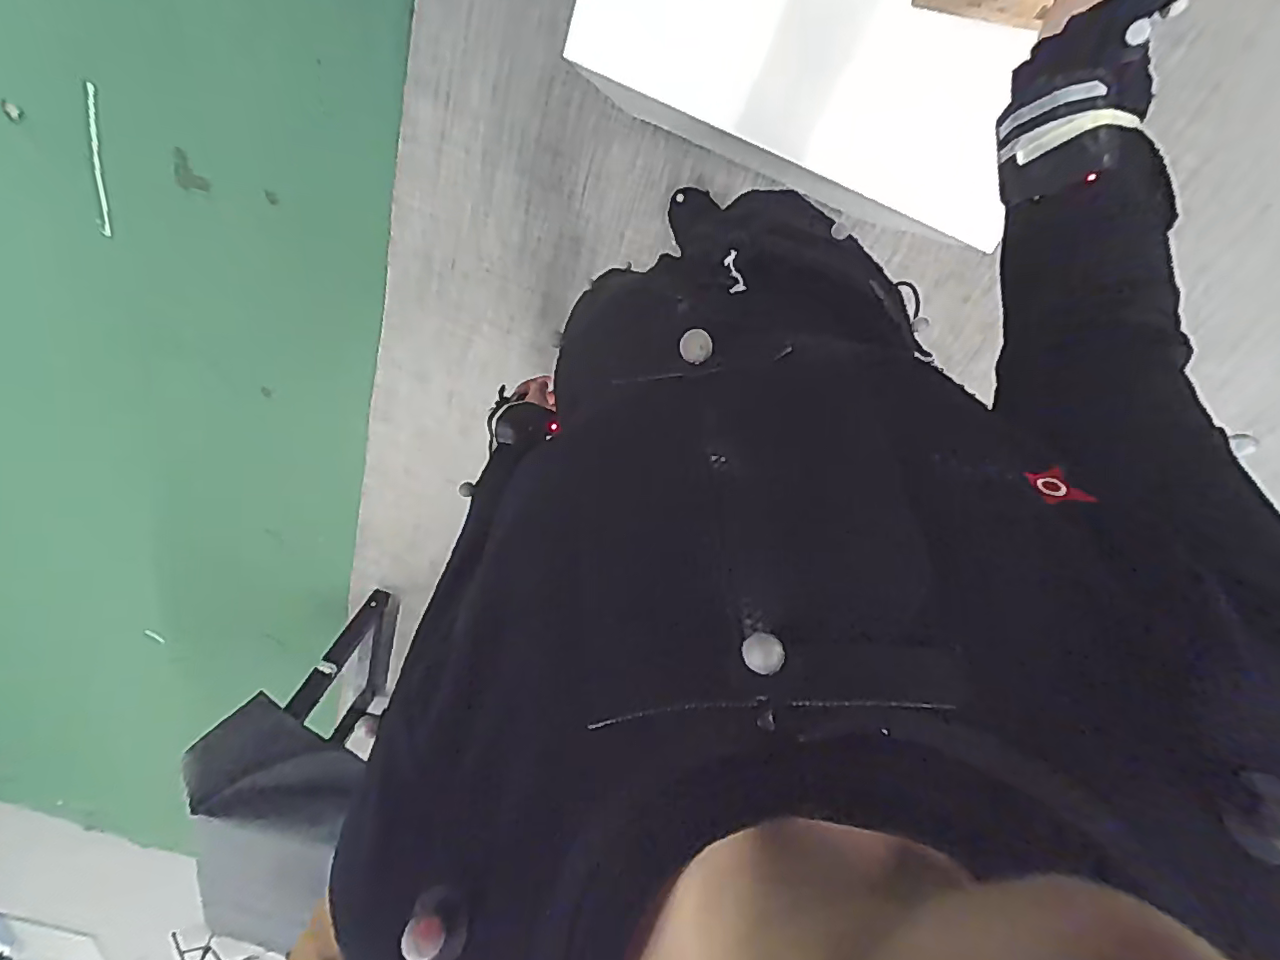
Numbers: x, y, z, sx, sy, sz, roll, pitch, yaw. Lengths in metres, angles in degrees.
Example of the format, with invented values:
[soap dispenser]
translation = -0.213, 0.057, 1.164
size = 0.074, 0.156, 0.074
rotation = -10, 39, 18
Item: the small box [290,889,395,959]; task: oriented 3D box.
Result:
[small box]
translation = -0.659, 1.038, 1.174
size = 0.168, 0.176, 0.179
rotation = 25, 118, -8
